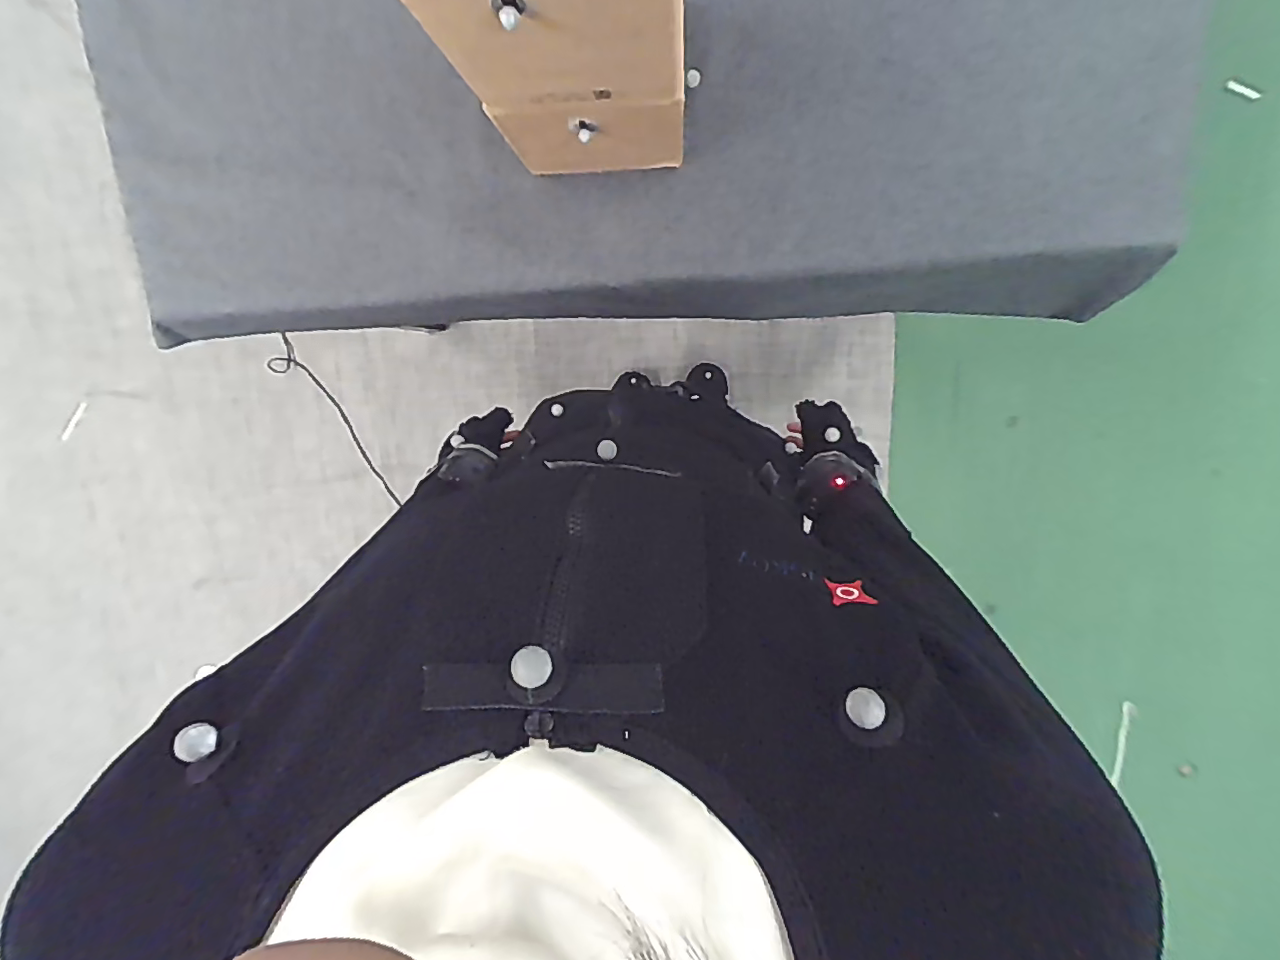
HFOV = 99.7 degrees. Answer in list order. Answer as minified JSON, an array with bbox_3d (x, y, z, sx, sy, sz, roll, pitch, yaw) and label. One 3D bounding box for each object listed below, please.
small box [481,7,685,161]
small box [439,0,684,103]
[{"bbox_3d":[-0.046,-0.428,0.523,0.179,0.176,0.168,-1,103,4],"label":"small box"},{"bbox_3d":[-0.055,-0.395,0.366,0.168,0.176,0.179,-2,104,4],"label":"small box"}]
